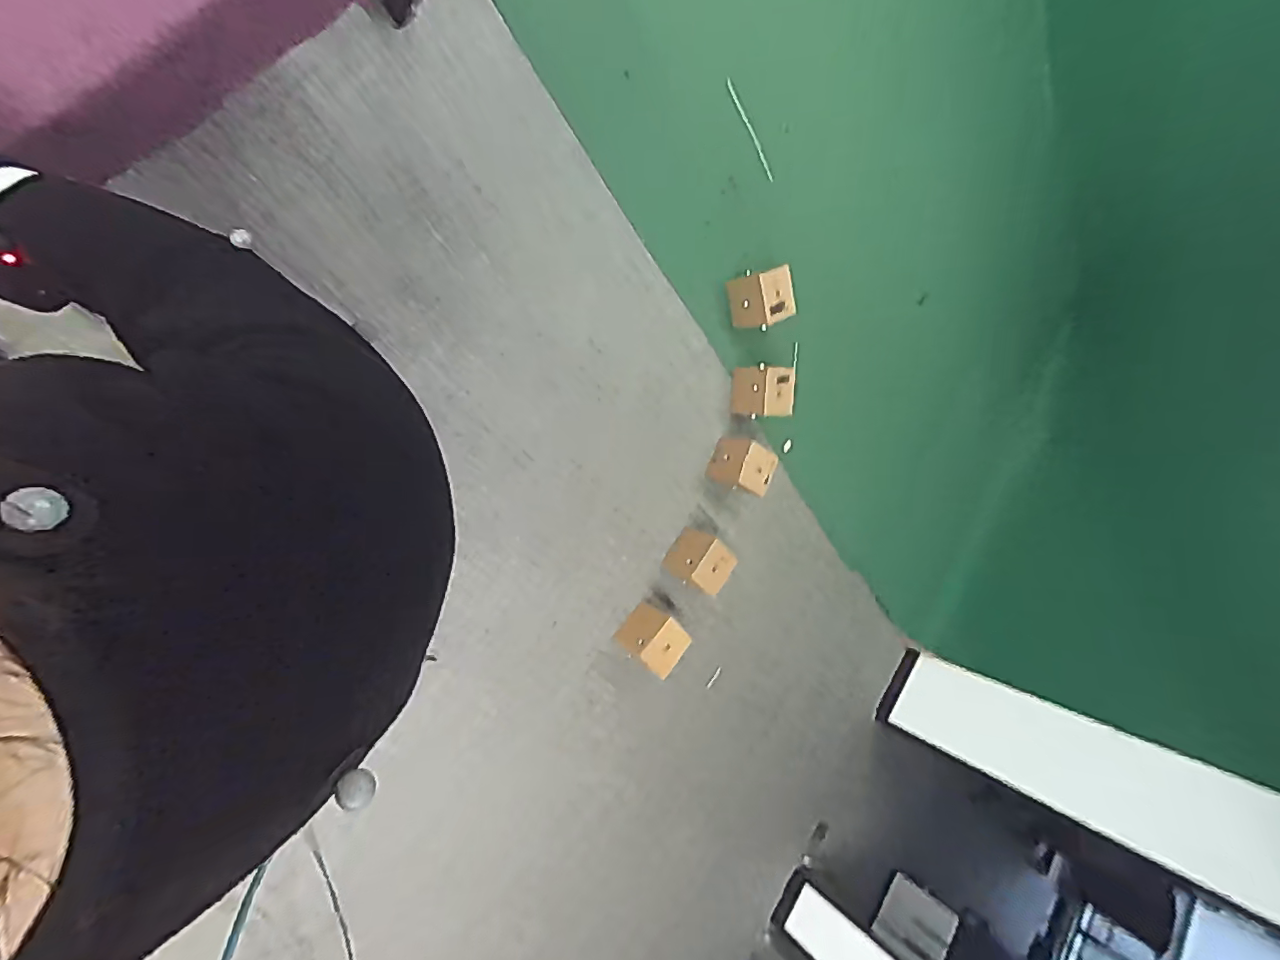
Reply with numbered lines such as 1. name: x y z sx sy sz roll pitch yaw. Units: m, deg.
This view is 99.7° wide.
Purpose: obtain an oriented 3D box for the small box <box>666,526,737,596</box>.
1. small box: 0.220 0.297 2.013 0.179 0.176 0.168 -54 125 -15

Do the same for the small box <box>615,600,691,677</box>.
1. small box: 0.043 0.561 1.937 0.179 0.176 0.168 -49 123 -18

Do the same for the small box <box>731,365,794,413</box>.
1. small box: 0.467 -0.348 2.073 0.168 0.176 0.179 -6 103 -36

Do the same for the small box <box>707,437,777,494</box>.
1. small box: 0.388 -0.059 2.071 0.179 0.176 0.168 27 82 -37
